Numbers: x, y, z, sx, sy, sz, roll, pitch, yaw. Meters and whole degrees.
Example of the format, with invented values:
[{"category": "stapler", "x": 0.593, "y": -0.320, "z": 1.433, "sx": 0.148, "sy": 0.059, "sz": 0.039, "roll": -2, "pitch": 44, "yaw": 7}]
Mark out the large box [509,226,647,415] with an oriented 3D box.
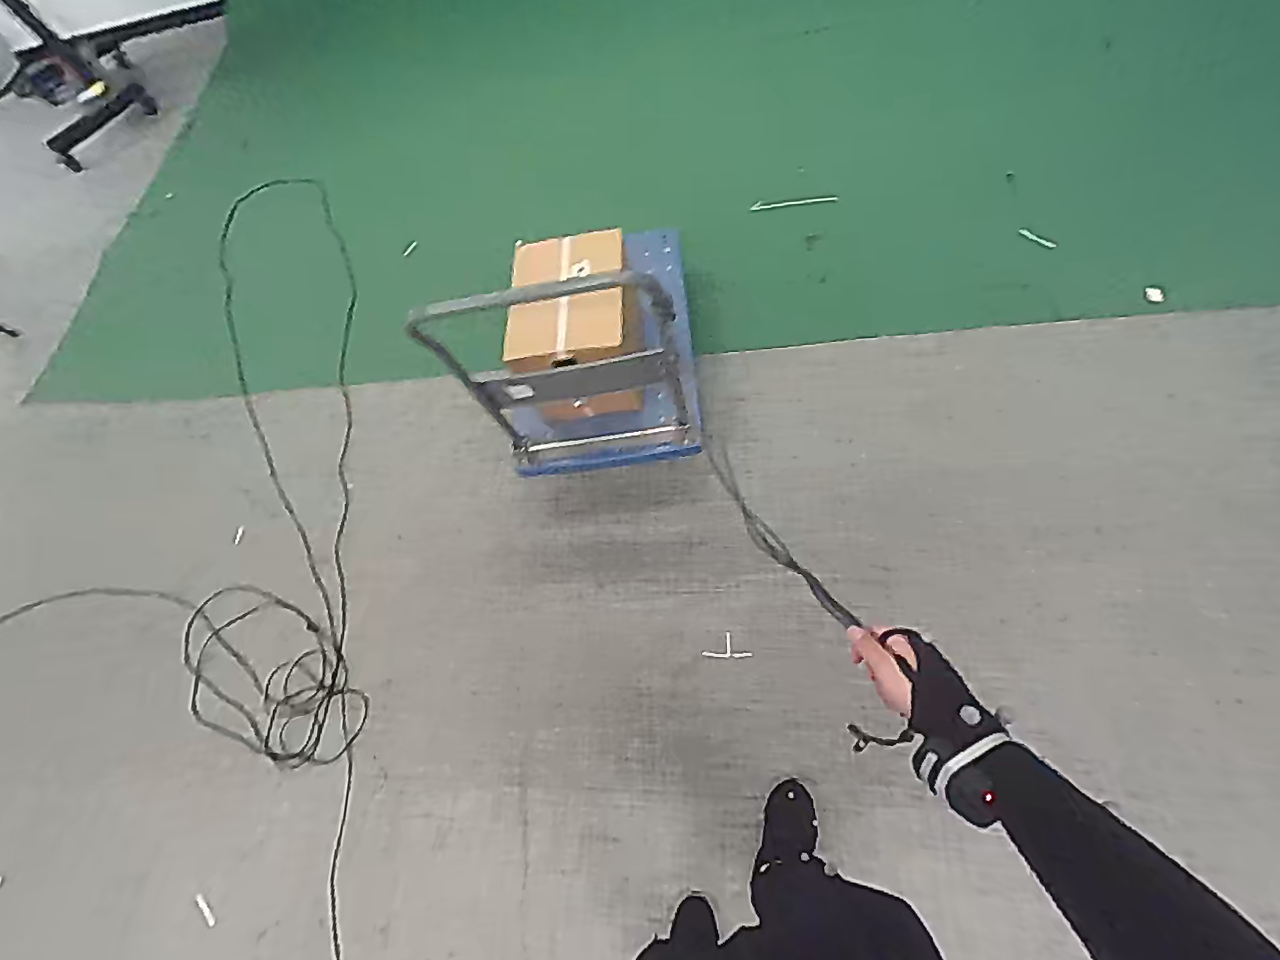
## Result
[{"category": "large box", "x": -0.161, "y": -0.448, "z": 1.567, "sx": 0.320, "sy": 0.320, "sz": 0.408, "roll": -5, "pitch": 65, "yaw": 9}]
